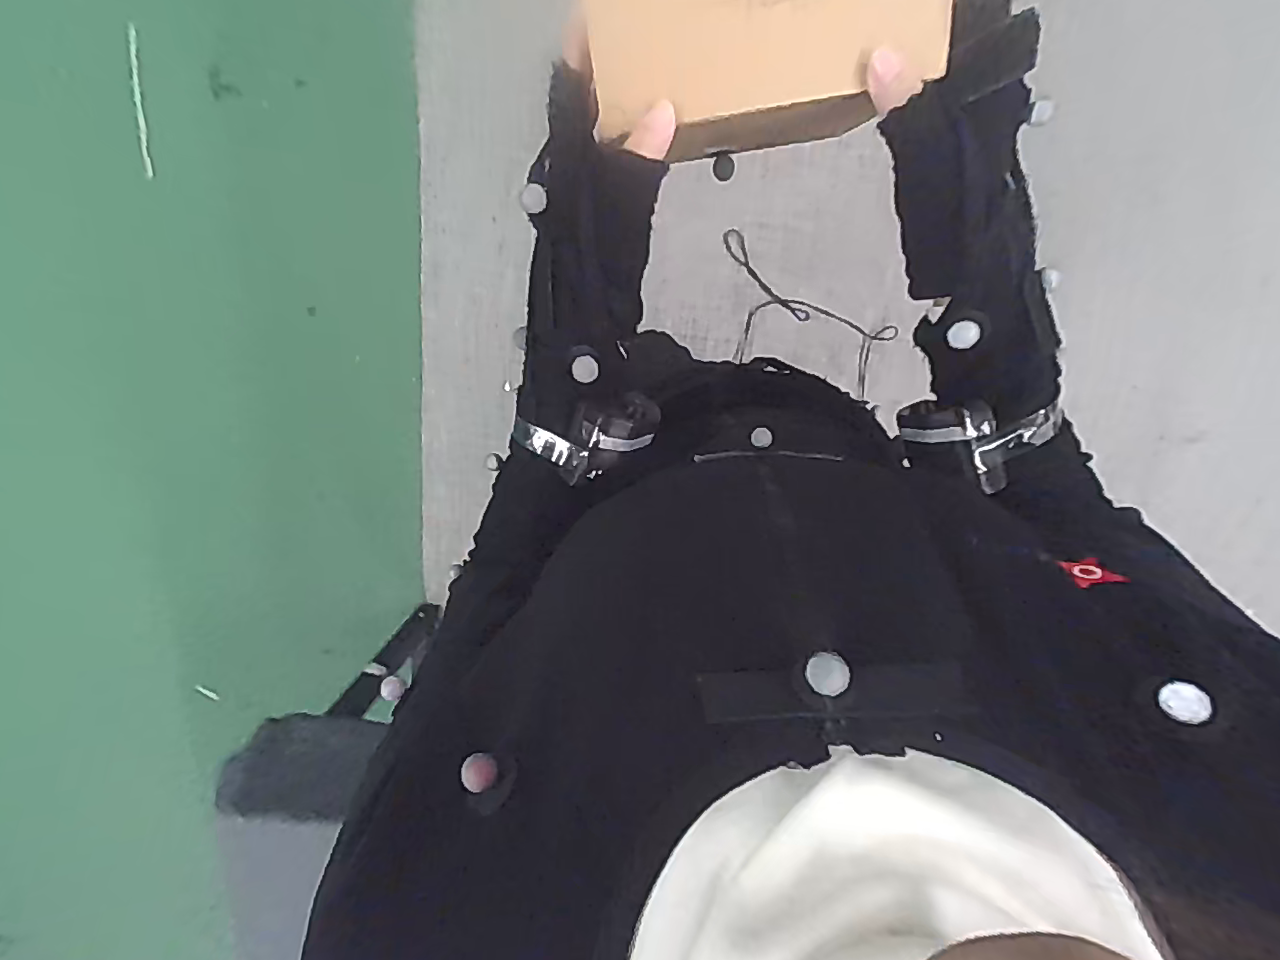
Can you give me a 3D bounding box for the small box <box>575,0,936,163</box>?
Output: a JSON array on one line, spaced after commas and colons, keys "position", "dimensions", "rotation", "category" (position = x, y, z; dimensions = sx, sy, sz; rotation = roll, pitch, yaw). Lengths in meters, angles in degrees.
[{"position": [0.051, -0.294, 0.301], "dimensions": [0.168, 0.176, 0.179], "rotation": [-4, 115, 6], "category": "small box"}]
